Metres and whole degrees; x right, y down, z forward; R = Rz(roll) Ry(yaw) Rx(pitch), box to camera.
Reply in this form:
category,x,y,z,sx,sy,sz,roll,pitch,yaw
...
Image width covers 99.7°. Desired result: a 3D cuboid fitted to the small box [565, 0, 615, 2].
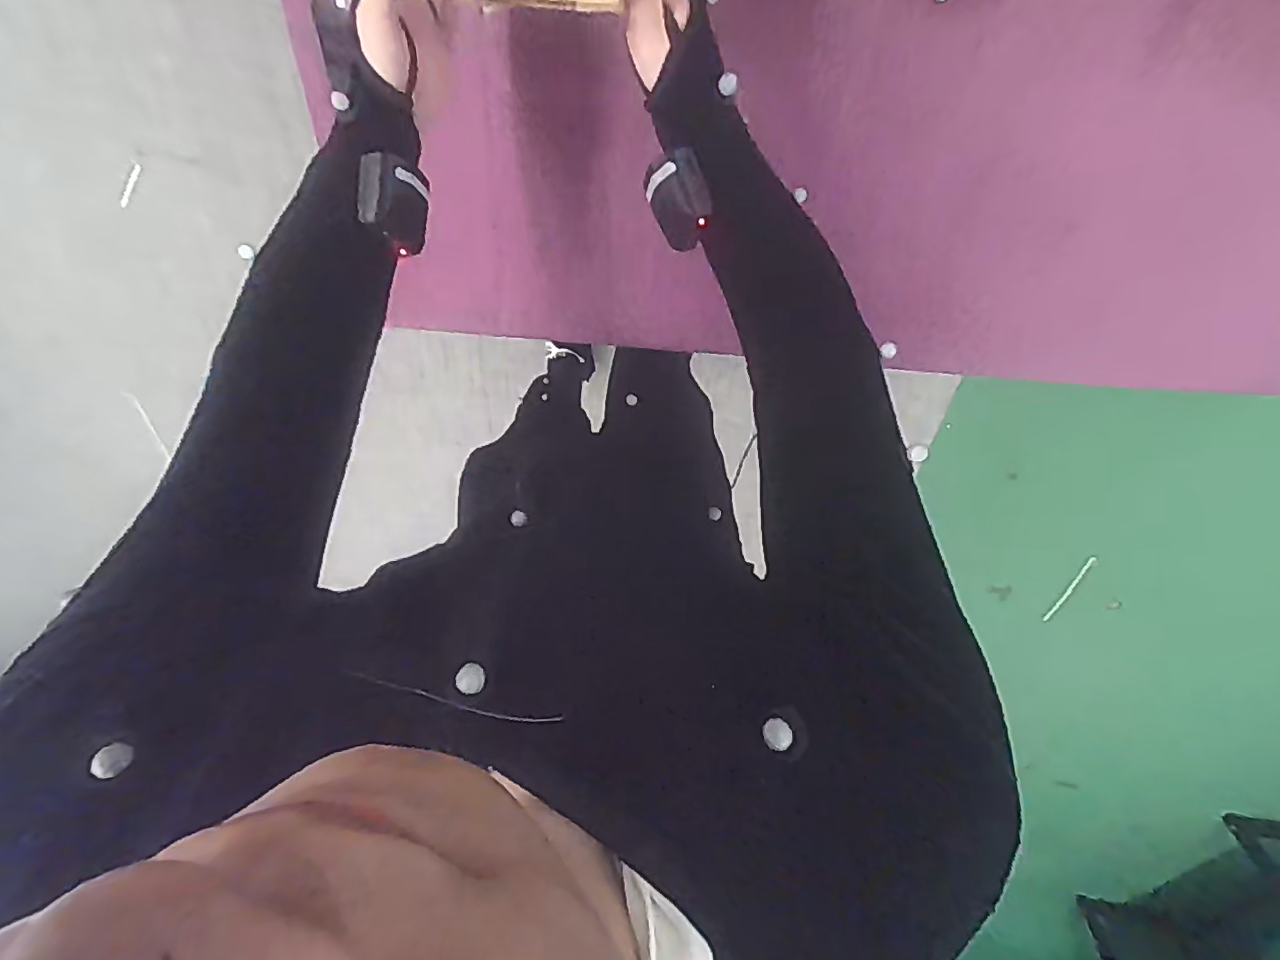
category,x,y,z,sx,sy,sz,roll,pitch,yaw
small box,-0.089,-0.458,0.379,0.168,0.176,0.179,5,130,1

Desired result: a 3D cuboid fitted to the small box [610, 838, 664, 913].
category,x,y,z,sx,sy,sz,roll,pitch,yaw
small box,-0.009,1.474,2.015,0.168,0.176,0.179,12,126,-2

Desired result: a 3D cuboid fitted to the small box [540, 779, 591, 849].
category,x,y,z,sx,sy,sz,roll,pitch,yaw
small box,-0.295,1.329,2.154,0.168,0.176,0.179,10,125,1
